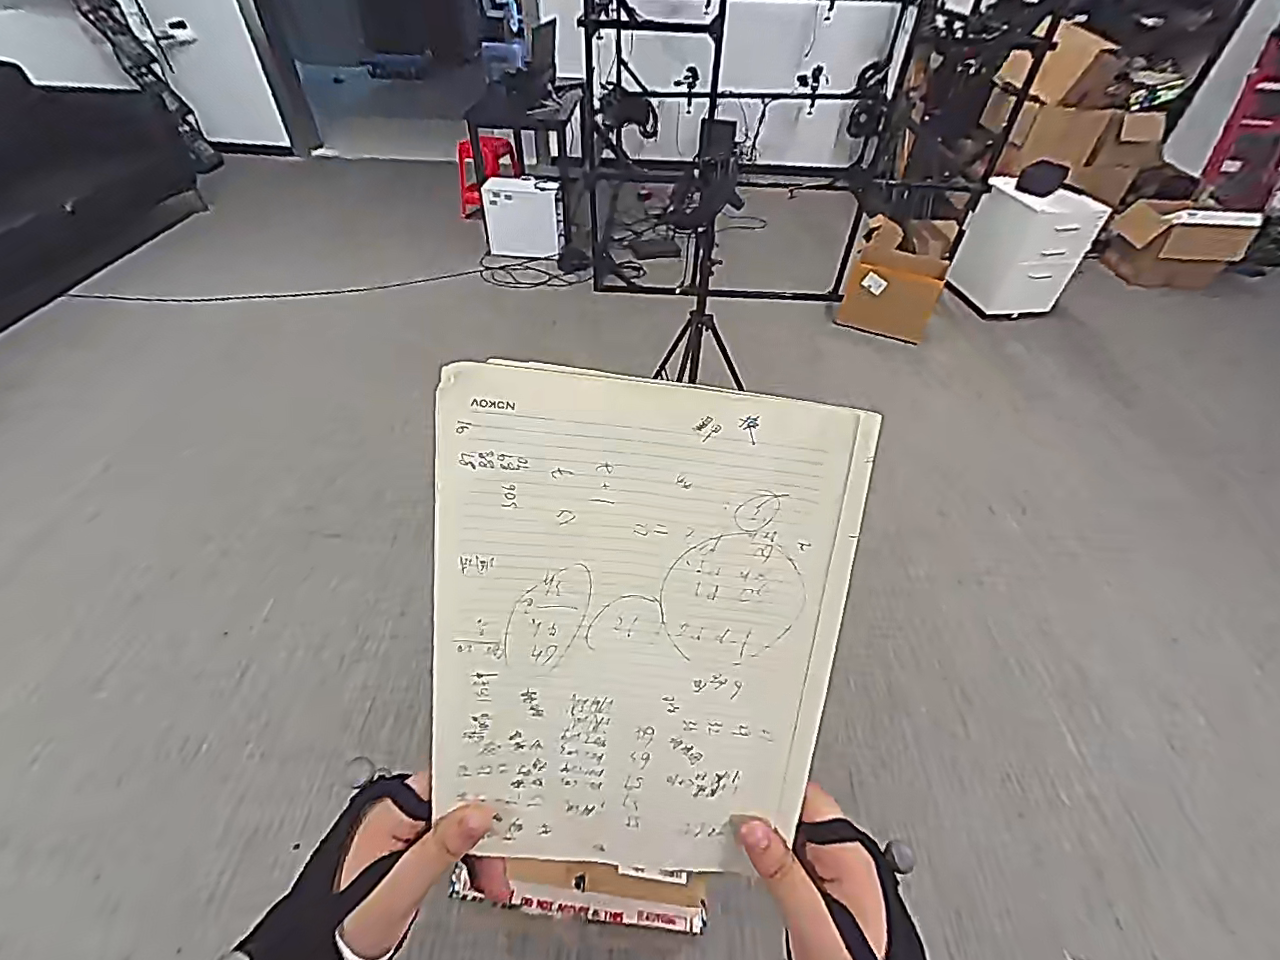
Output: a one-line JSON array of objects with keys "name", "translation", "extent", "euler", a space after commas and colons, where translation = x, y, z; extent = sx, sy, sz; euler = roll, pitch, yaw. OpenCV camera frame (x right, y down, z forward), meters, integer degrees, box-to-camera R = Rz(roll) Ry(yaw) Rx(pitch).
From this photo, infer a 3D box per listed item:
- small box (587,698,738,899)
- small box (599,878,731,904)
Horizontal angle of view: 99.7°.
[{"name": "small box", "translation": [0.027, 0.414, 0.702], "extent": [0.168, 0.176, 0.179], "euler": [9, 47, 3]}, {"name": "small box", "translation": [0.035, 0.528, 0.823], "extent": [0.179, 0.176, 0.168], "euler": [6, 46, 1]}]
